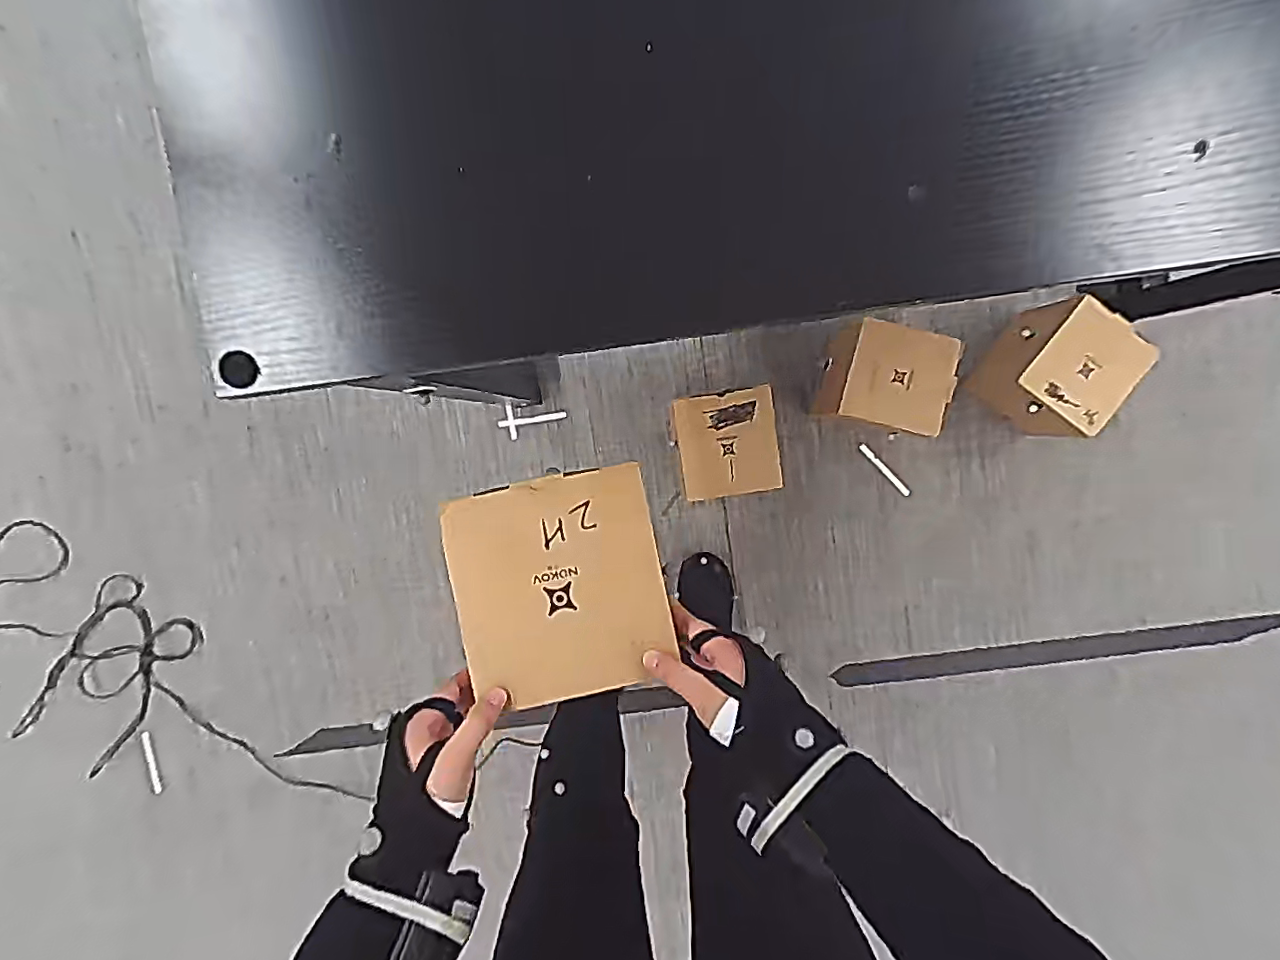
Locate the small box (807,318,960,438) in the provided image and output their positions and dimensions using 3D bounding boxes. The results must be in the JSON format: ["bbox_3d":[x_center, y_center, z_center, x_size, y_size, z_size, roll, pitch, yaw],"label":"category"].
[{"bbox_3d":[0.425,-0.177,0.971,0.179,0.176,0.168,13,95,0],"label":"small box"}]

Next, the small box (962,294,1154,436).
[{"bbox_3d":[0.727,-0.196,0.965,0.168,0.176,0.179,35,95,-4],"label":"small box"}]

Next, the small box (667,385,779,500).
[{"bbox_3d":[0.143,-0.070,0.983,0.168,0.176,0.179,-9,97,1],"label":"small box"}]

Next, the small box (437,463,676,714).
[{"bbox_3d":[-0.067,0.088,0.511,0.168,0.176,0.179,-13,88,-2],"label":"small box"}]
